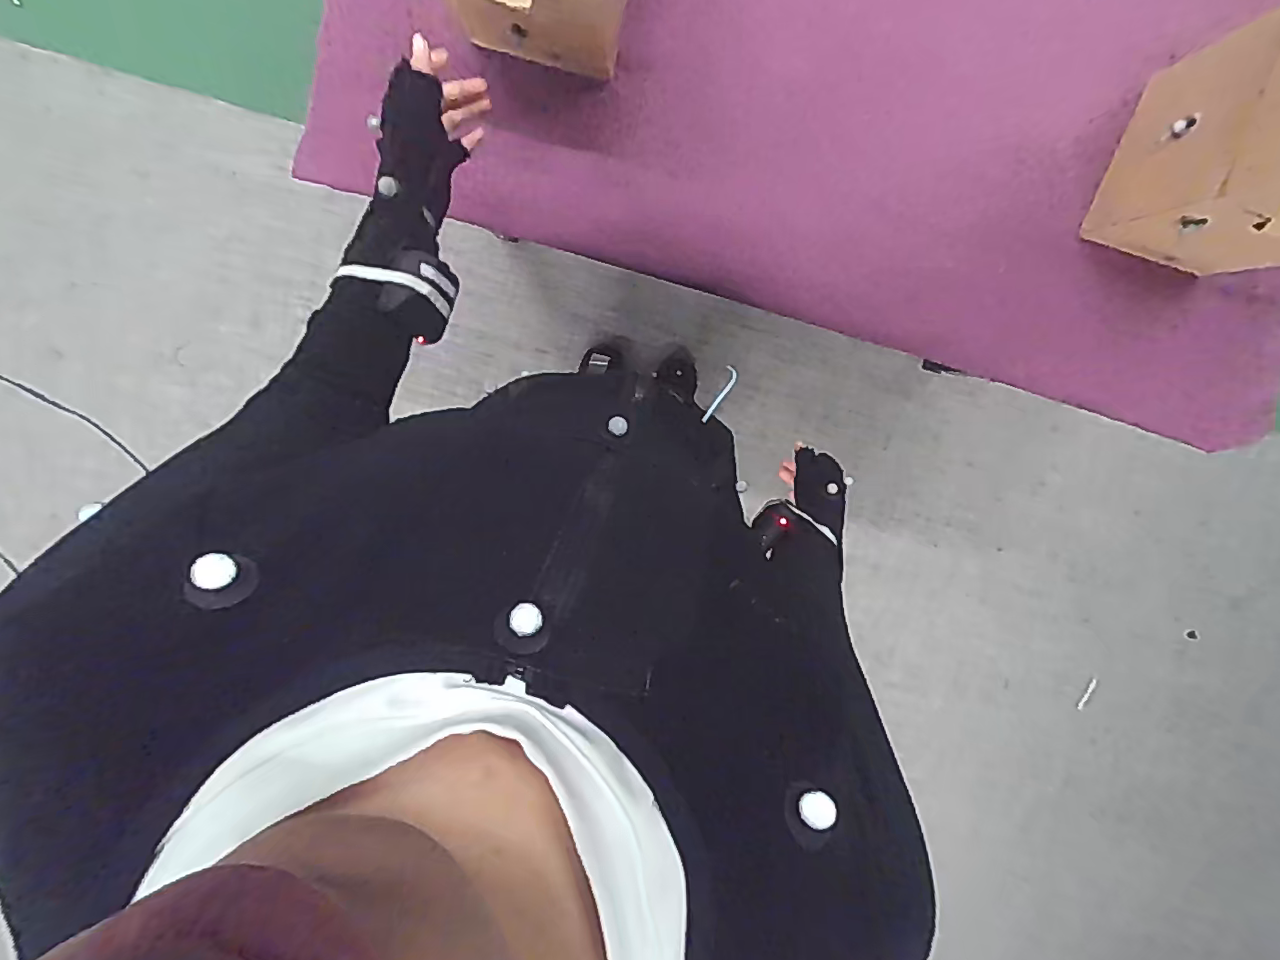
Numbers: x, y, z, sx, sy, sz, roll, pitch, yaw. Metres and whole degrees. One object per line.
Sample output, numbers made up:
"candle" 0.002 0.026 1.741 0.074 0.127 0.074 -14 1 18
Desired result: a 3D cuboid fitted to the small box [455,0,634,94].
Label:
"small box" -0.090 -0.529 0.531 0.168 0.176 0.179 14 105 -4
